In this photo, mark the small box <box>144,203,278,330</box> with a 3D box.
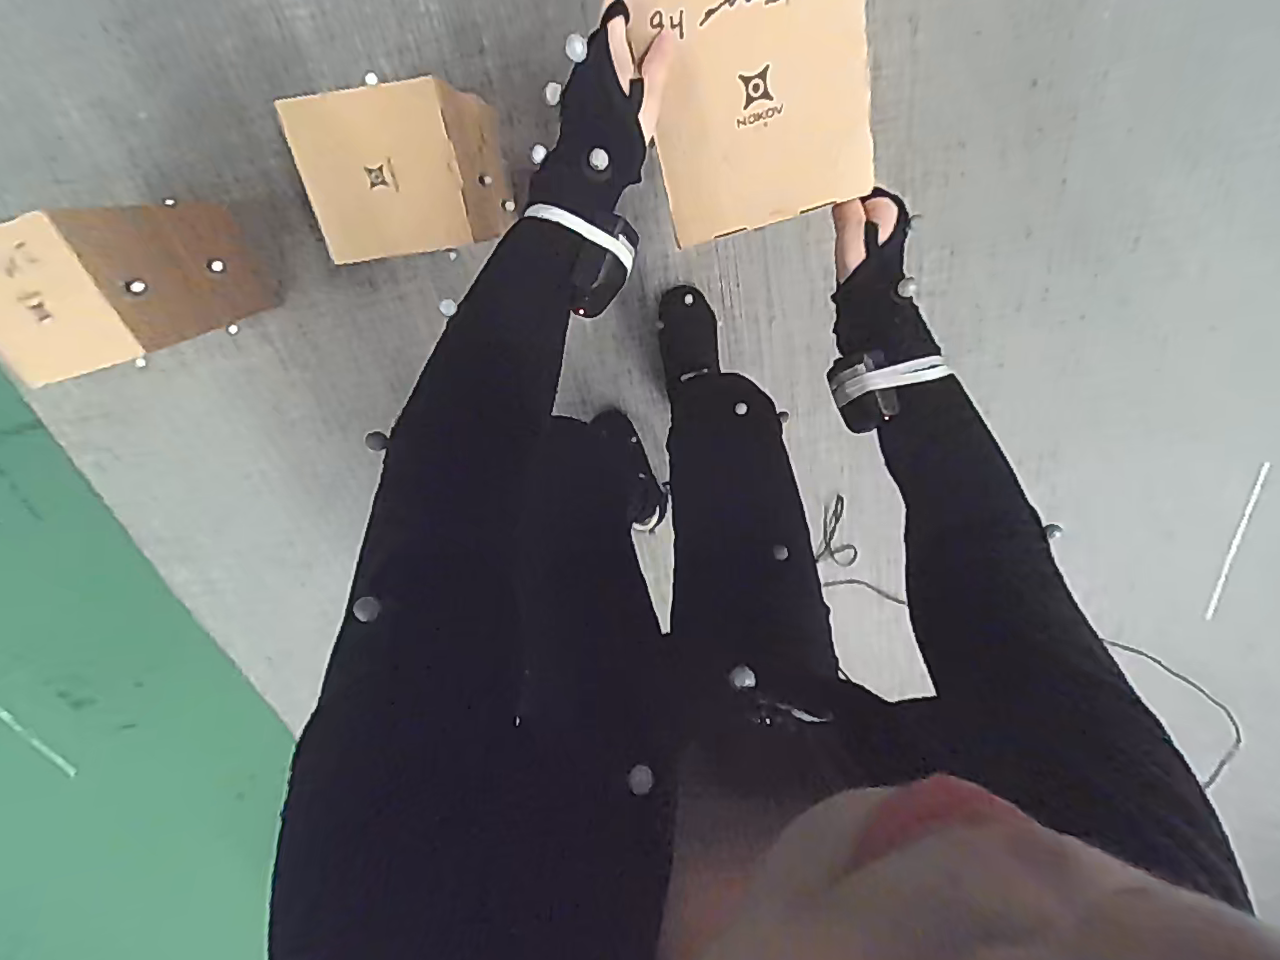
[{"bbox_3d":[-0.738,-0.336,0.873,0.168,0.176,0.179,-12,118,3],"label":"small box"}]

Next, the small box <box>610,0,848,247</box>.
[{"bbox_3d":[0.082,-0.338,0.496,0.168,0.176,0.179,-12,121,11],"label":"small box"}]

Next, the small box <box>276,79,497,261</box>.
[{"bbox_3d":[-0.299,-0.380,0.683,0.179,0.176,0.168,-8,118,1],"label":"small box"}]

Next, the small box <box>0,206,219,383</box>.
[{"bbox_3d":[-0.732,-0.255,0.730,0.168,0.176,0.179,-14,118,3],"label":"small box"}]
